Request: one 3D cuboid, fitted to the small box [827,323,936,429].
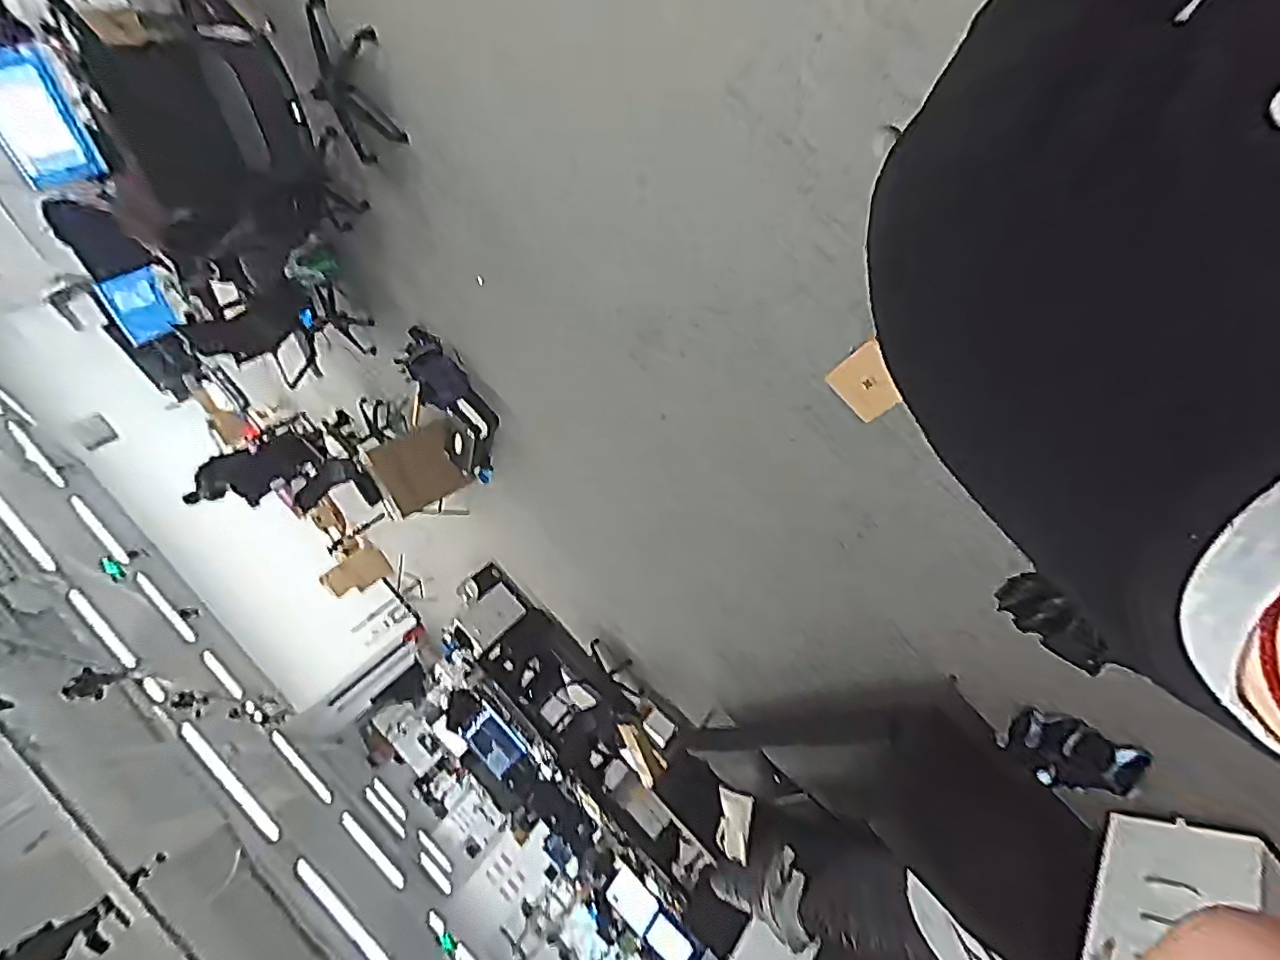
[{"bbox_3d":[0.628,-0.271,1.394,0.168,0.176,0.179,47,149,3],"label":"small box"}]

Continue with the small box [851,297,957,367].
[{"bbox_3d":[0.726,-0.363,1.484,0.168,0.176,0.179,45,147,3],"label":"small box"}]
